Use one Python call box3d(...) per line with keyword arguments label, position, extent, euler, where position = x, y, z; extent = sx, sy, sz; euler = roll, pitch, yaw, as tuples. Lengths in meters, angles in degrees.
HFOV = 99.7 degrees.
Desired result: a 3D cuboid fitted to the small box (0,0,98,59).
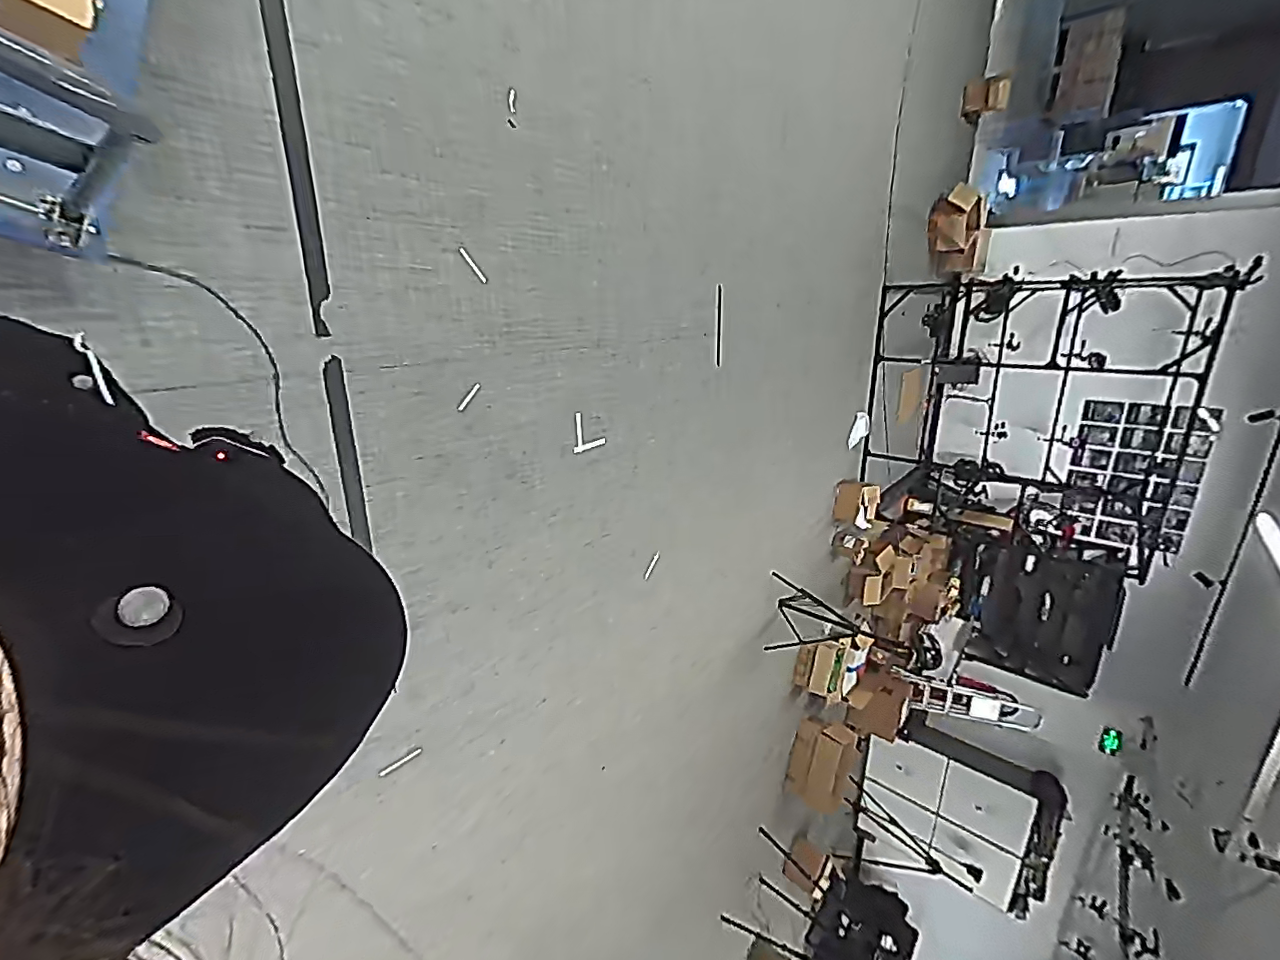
box3d(label="small box", position=(-0.865, -0.723, 0.735), extent=(0.179, 0.176, 0.168), euler=(4, 98, -51))
